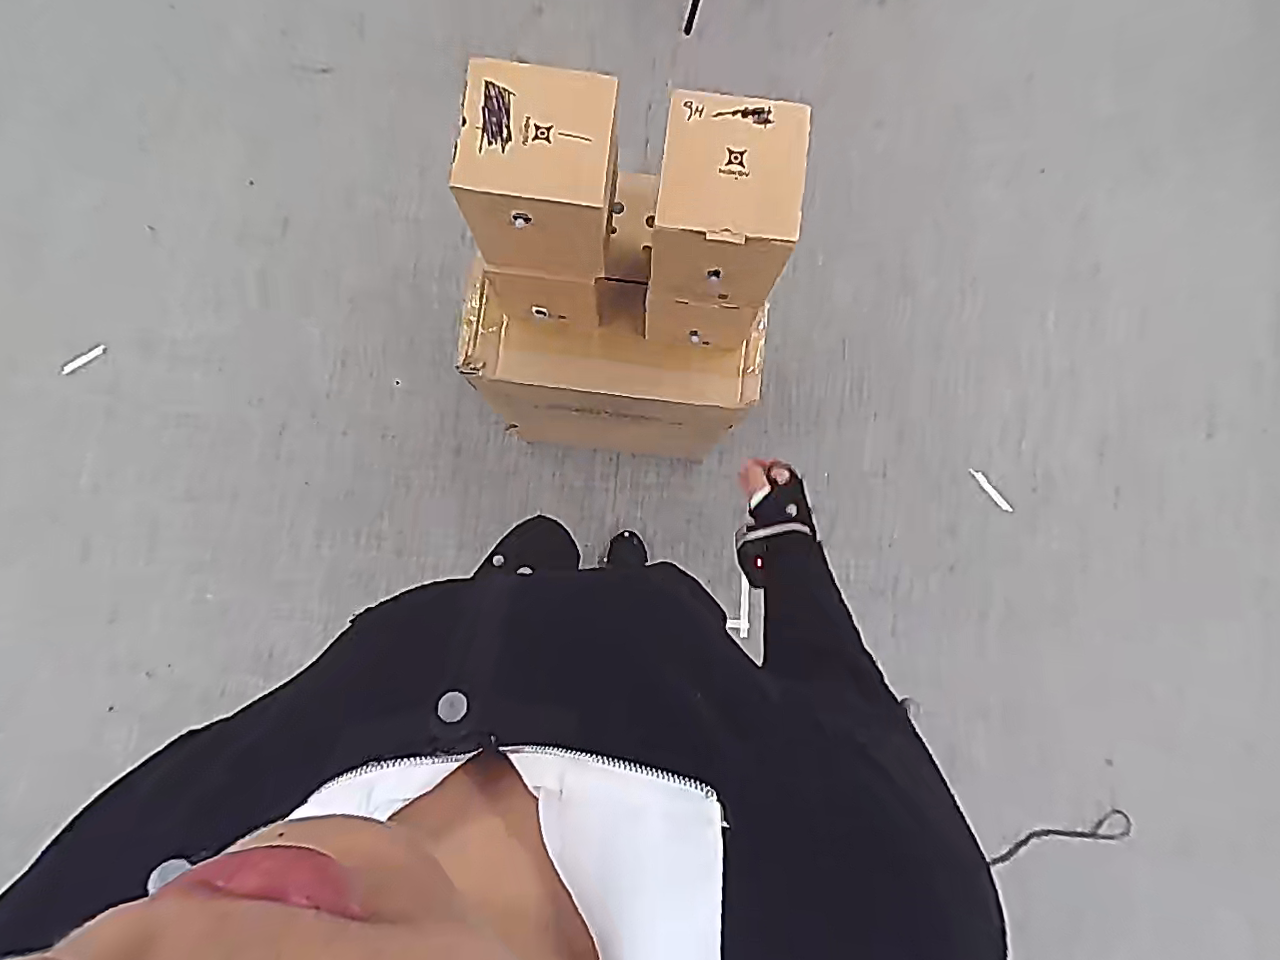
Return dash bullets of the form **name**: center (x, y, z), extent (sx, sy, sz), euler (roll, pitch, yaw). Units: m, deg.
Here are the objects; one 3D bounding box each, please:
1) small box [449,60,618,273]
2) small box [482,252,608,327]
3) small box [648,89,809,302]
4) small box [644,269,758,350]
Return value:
- **small box**: center (-0.125, -0.389, 0.700), extent (0.179, 0.176, 0.168), euler (6, 84, -2)
- **small box**: center (-0.140, -0.366, 0.862), extent (0.168, 0.176, 0.179), euler (6, 84, -1)
- **small box**: center (0.103, -0.351, 0.699), extent (0.168, 0.176, 0.179), euler (8, 84, -1)
- **small box**: center (0.096, -0.327, 0.863), extent (0.168, 0.176, 0.179), euler (6, 84, 1)
